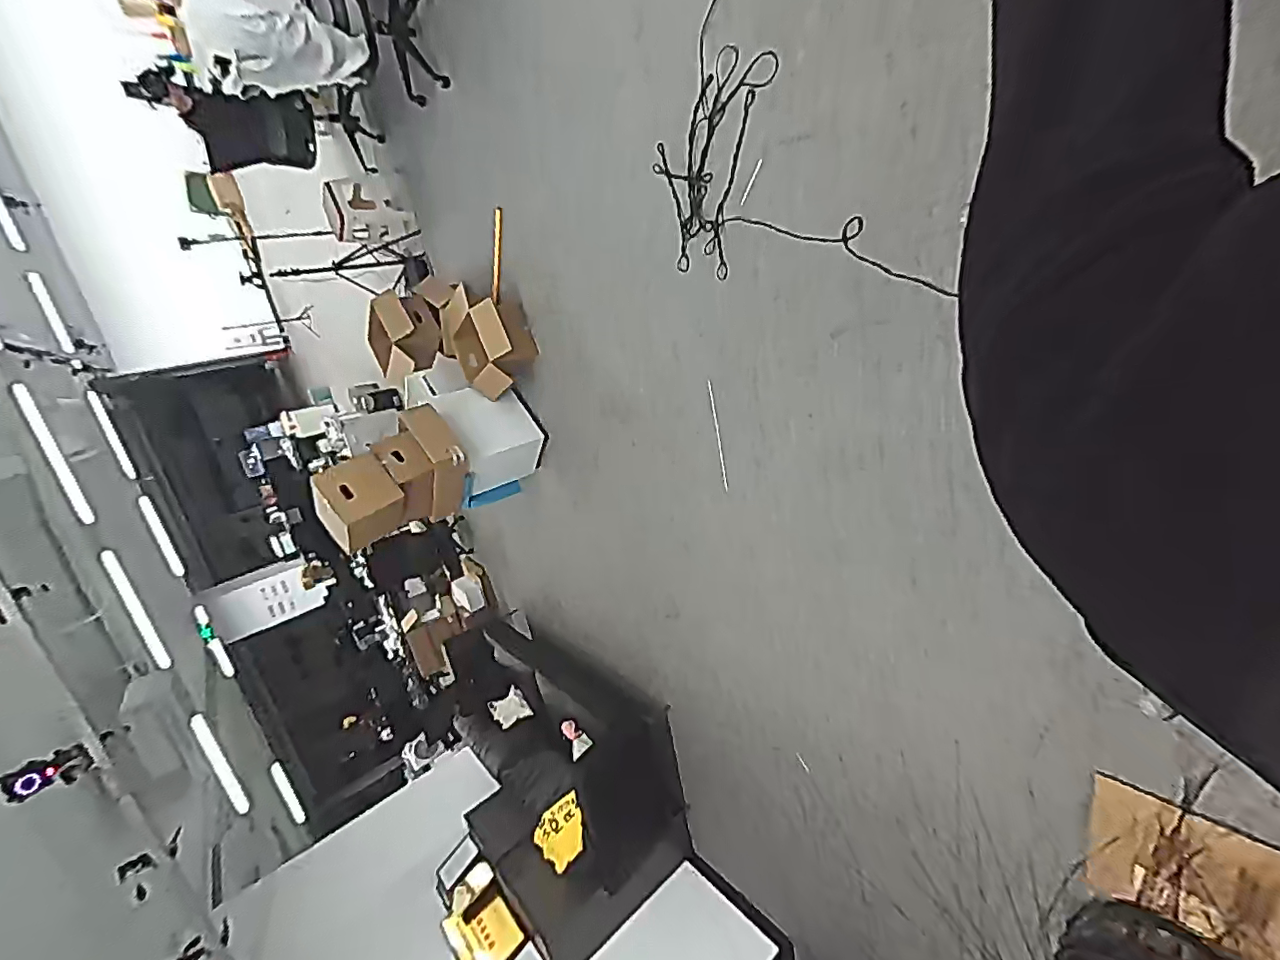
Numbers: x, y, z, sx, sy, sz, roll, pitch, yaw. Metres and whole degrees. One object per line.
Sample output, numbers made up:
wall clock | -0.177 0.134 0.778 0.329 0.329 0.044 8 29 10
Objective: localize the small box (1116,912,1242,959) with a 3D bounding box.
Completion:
small box | 1.401 1.245 1.406 0.179 0.176 0.168 32 133 43

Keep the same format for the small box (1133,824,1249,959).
small box | 1.355 1.004 1.330 0.168 0.176 0.179 17 123 49
